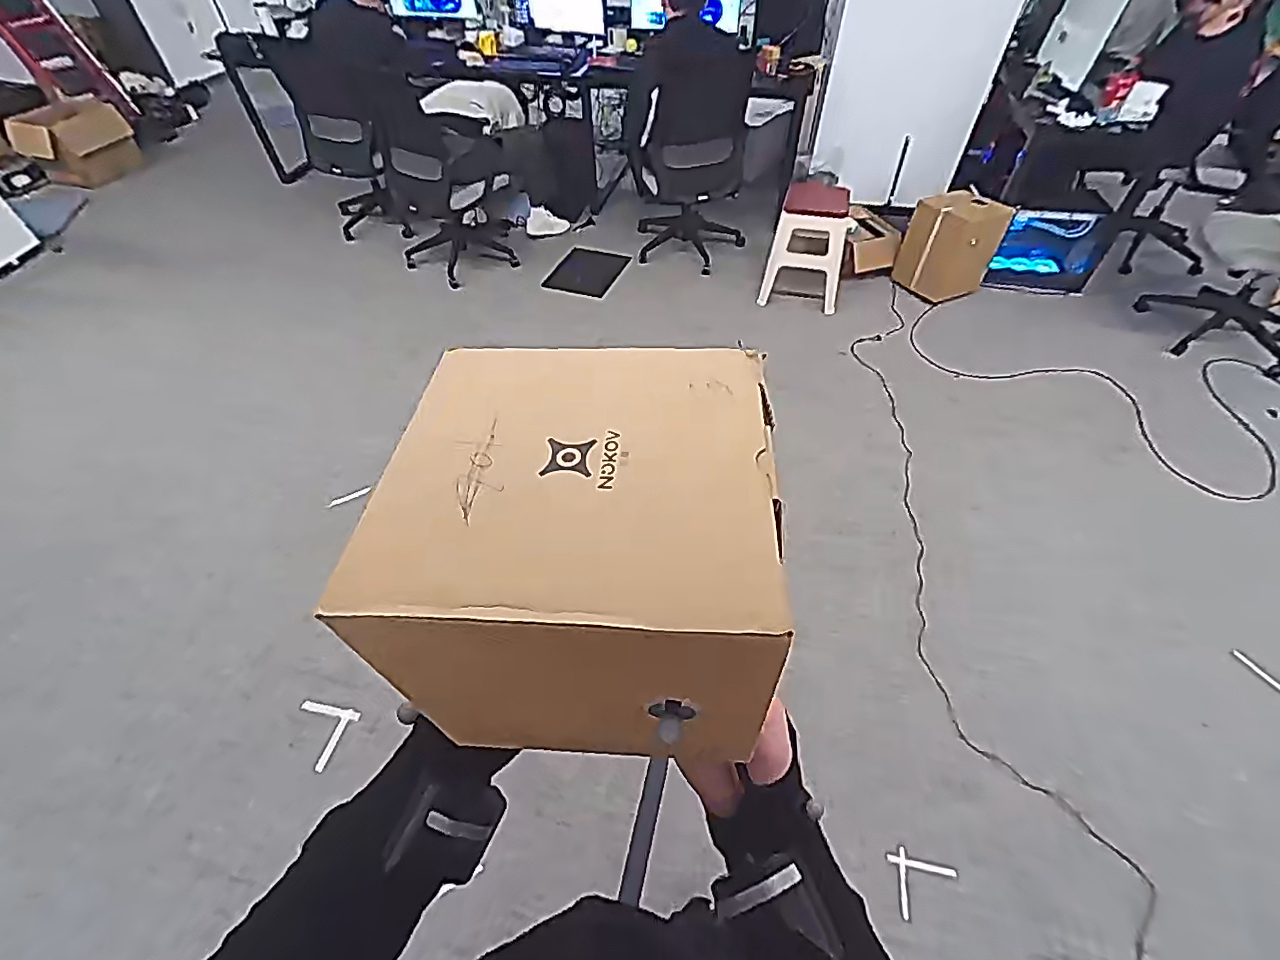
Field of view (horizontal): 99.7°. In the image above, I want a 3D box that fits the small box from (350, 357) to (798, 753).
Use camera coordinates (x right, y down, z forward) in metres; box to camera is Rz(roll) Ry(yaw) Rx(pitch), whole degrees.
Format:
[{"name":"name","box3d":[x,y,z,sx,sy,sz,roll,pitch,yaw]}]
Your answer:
[{"name":"small box","box3d":[-0.018,0.047,0.316,0.179,0.176,0.168,0,48,5]}]
